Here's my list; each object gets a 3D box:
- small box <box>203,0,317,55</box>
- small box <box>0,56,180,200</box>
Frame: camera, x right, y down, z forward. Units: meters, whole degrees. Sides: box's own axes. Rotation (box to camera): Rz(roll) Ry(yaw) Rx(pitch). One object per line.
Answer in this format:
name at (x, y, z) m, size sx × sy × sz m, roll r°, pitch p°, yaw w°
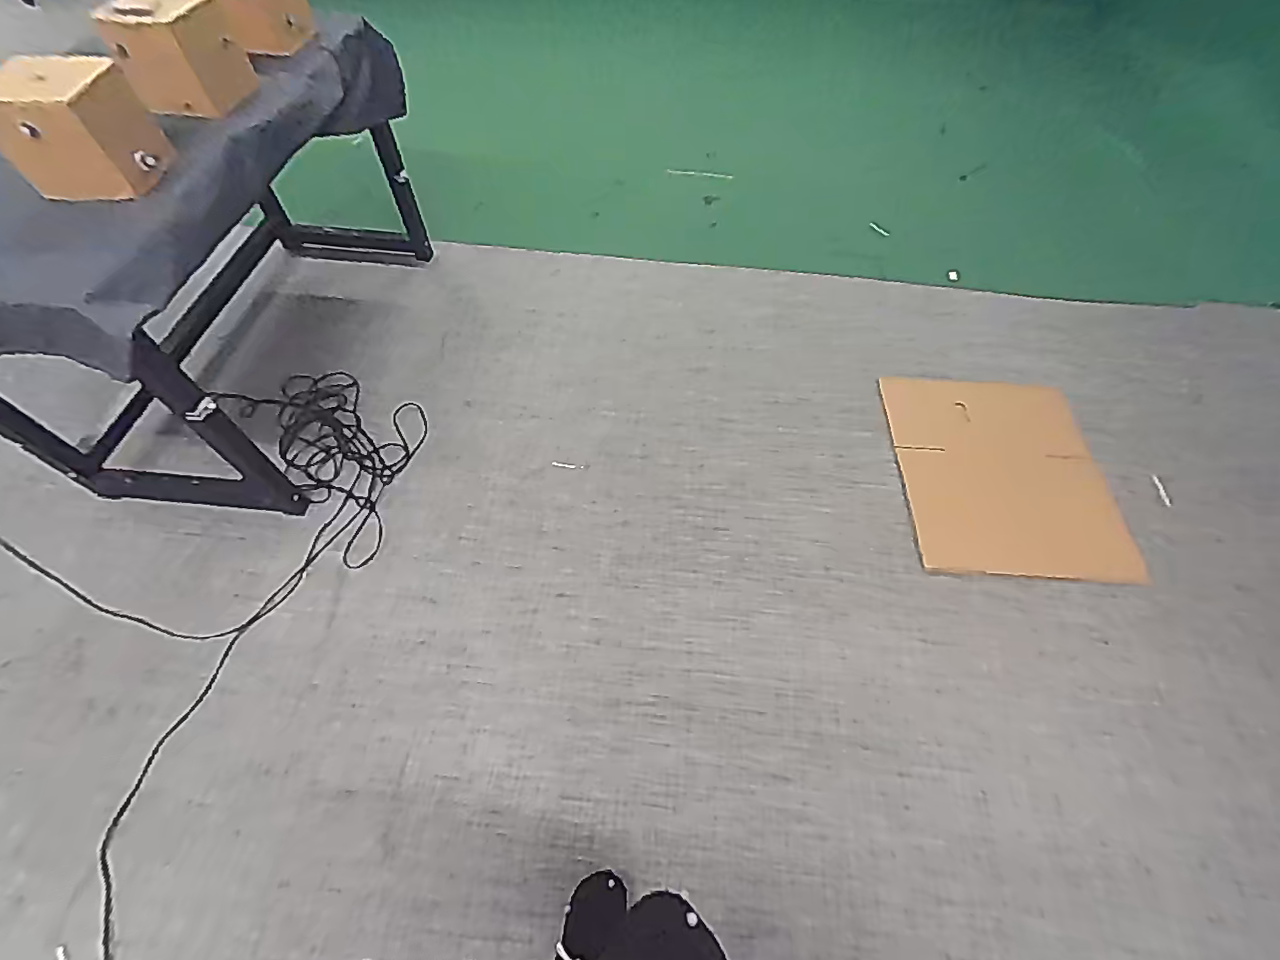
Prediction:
small box at (-0.945, -1.178, 1.327) m, size 0.179 × 0.176 × 0.168 m, roll 9°, pitch 58°, yaw 4°
small box at (-1.006, -0.632, 0.978) m, size 0.179 × 0.176 × 0.168 m, roll 0°, pitch 59°, yaw -3°
